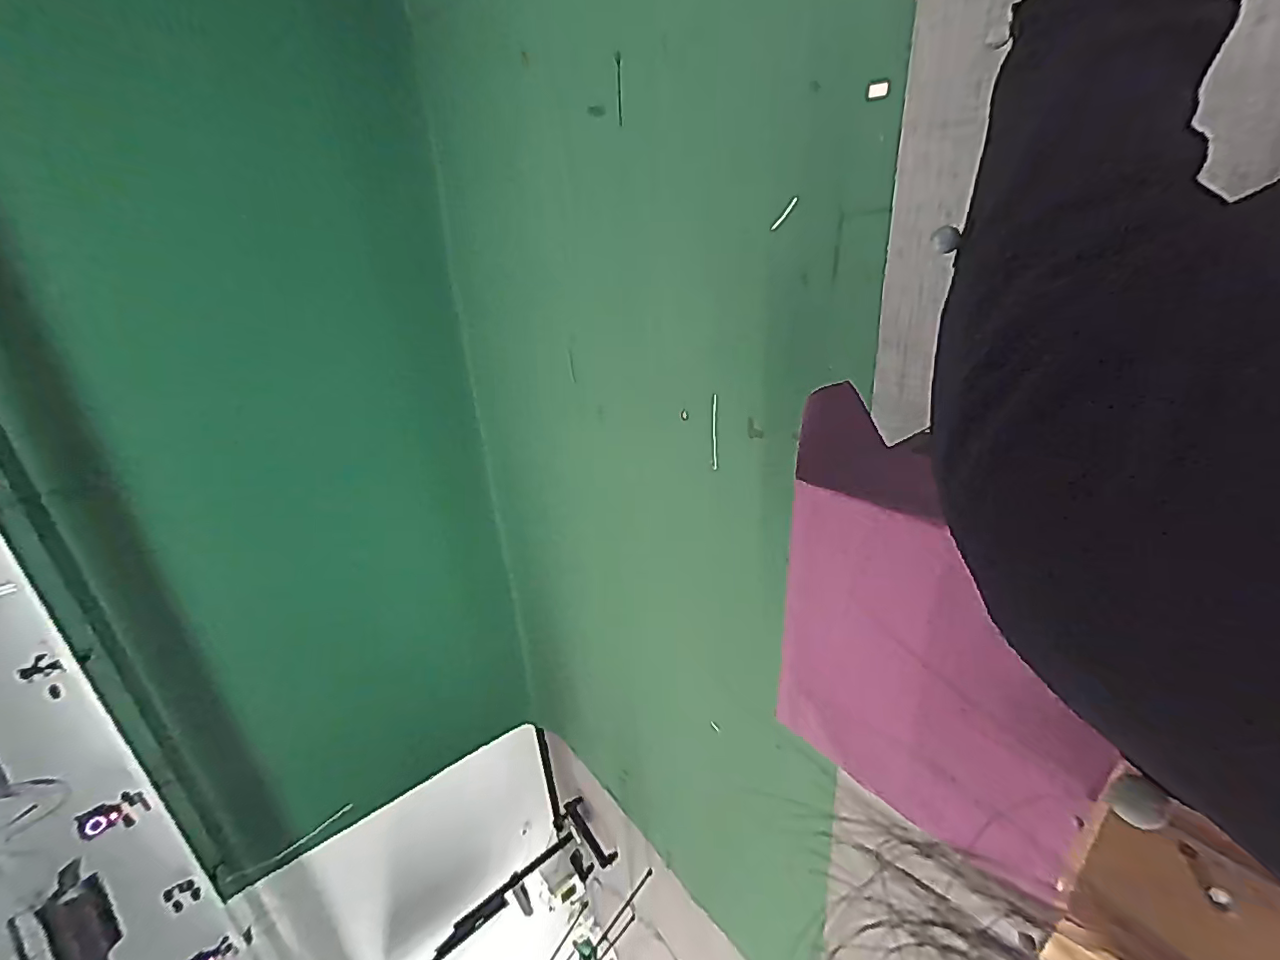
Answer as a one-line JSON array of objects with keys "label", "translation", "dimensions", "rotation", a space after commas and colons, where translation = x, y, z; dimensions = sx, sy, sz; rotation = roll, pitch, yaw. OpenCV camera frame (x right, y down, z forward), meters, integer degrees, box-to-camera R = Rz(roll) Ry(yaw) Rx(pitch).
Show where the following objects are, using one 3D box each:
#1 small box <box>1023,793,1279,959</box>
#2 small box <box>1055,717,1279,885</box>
[{"label": "small box", "translation": [0.486, 0.446, 0.499], "dimensions": [0.168, 0.176, 0.179], "rotation": [26, 127, 44]}, {"label": "small box", "translation": [0.611, 0.411, 0.601], "dimensions": [0.168, 0.176, 0.179], "rotation": [28, 128, 44]}]
